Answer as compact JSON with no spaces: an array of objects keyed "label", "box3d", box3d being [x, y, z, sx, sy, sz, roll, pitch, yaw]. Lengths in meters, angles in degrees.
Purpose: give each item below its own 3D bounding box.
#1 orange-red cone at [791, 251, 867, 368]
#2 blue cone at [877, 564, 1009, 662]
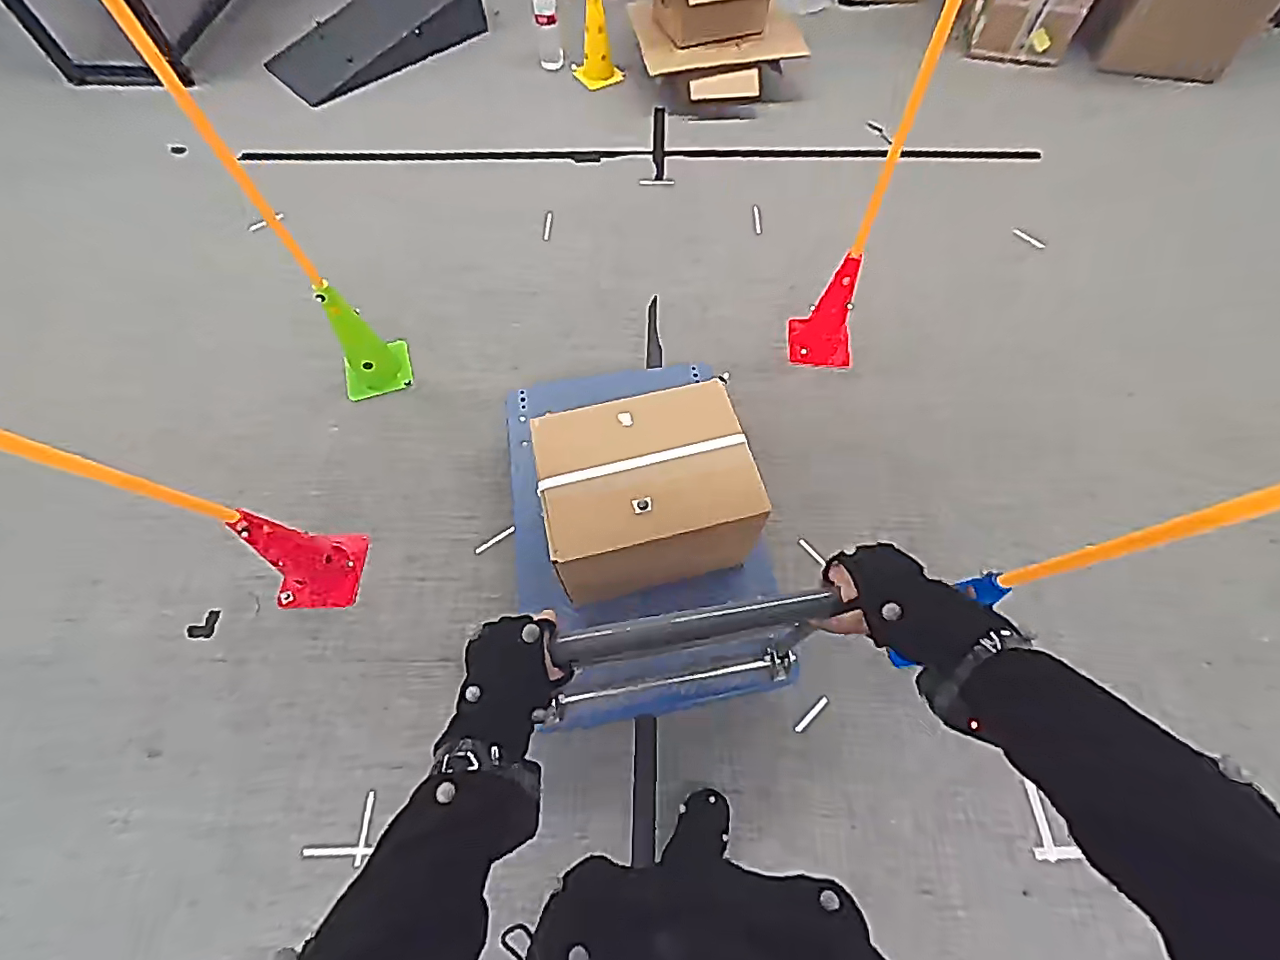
[{"label":"orange-red cone","box3d":[0.600,-0.530,1.620,0.199,0.360,0.198,7,64,3]},{"label":"blue cone","box3d":[0.709,0.279,1.217,0.193,0.380,0.192,-3,61,-1]}]
